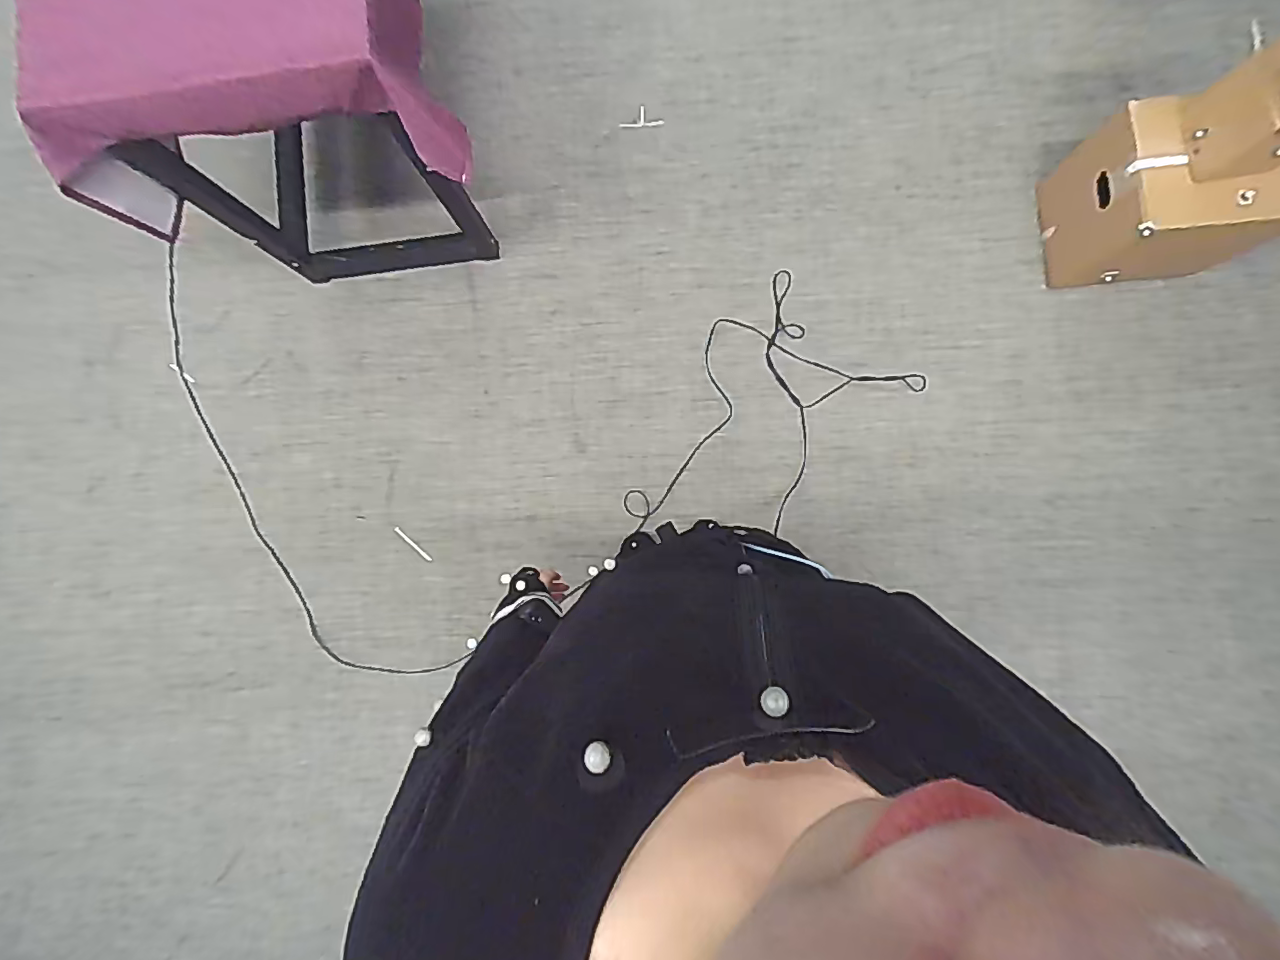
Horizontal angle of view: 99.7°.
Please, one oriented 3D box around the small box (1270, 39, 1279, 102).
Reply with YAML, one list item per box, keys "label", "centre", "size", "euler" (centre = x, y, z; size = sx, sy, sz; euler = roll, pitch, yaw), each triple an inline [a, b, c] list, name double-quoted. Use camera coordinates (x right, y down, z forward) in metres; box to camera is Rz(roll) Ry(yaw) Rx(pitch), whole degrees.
- label: "small box"
  centre: [1.290, -0.775, 0.953]
  size: [0.179, 0.176, 0.168]
  euler: [-12, 85, 2]
